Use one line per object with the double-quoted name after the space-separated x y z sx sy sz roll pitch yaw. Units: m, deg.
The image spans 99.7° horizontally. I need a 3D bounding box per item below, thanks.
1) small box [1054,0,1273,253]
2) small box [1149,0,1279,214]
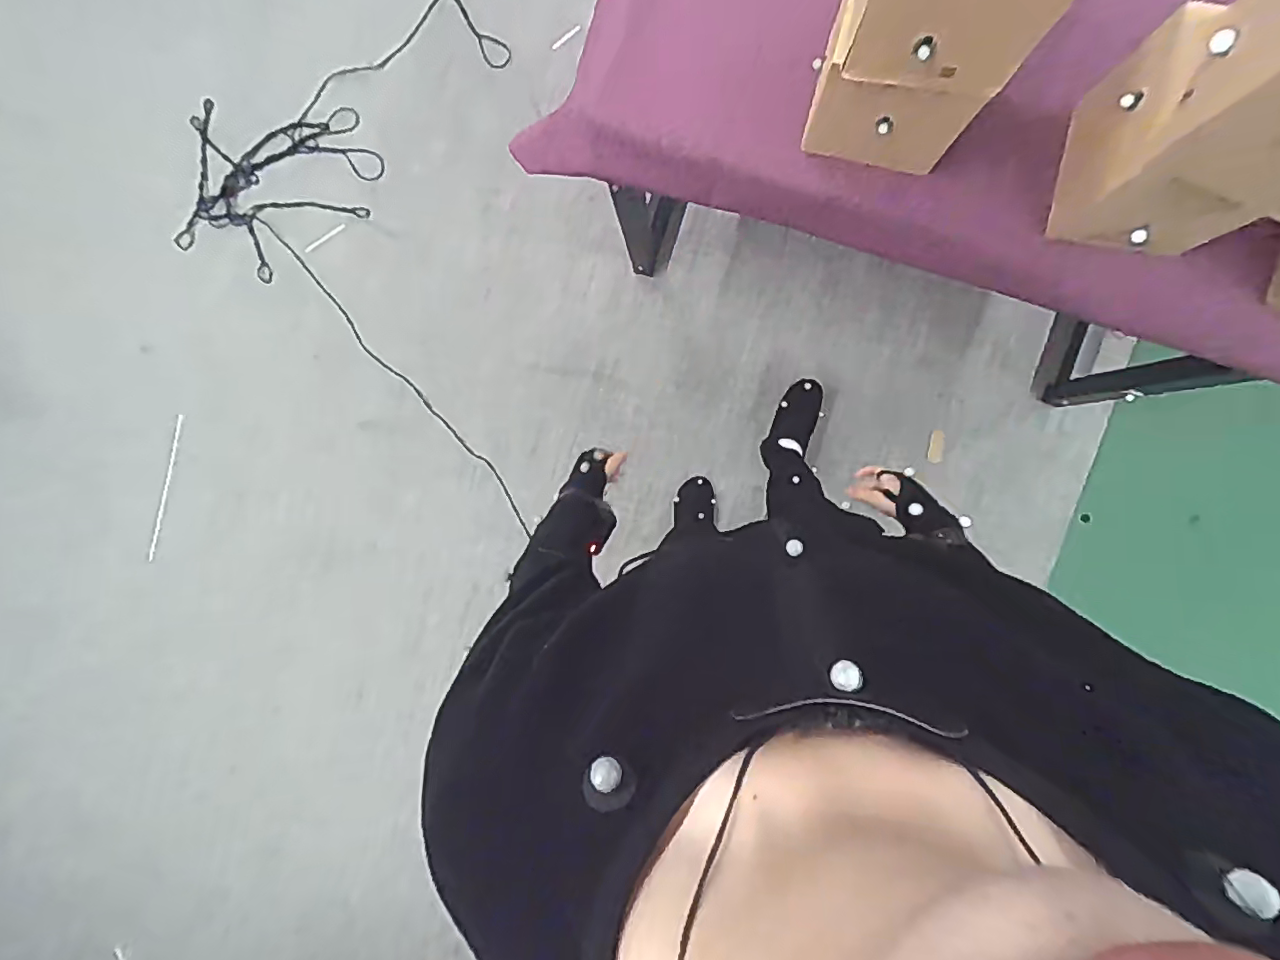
0.630 -0.393 0.628 0.168 0.176 0.179 12 93 6 "small box"
0.621 -0.362 0.464 0.179 0.176 0.168 26 93 5 "small box"
